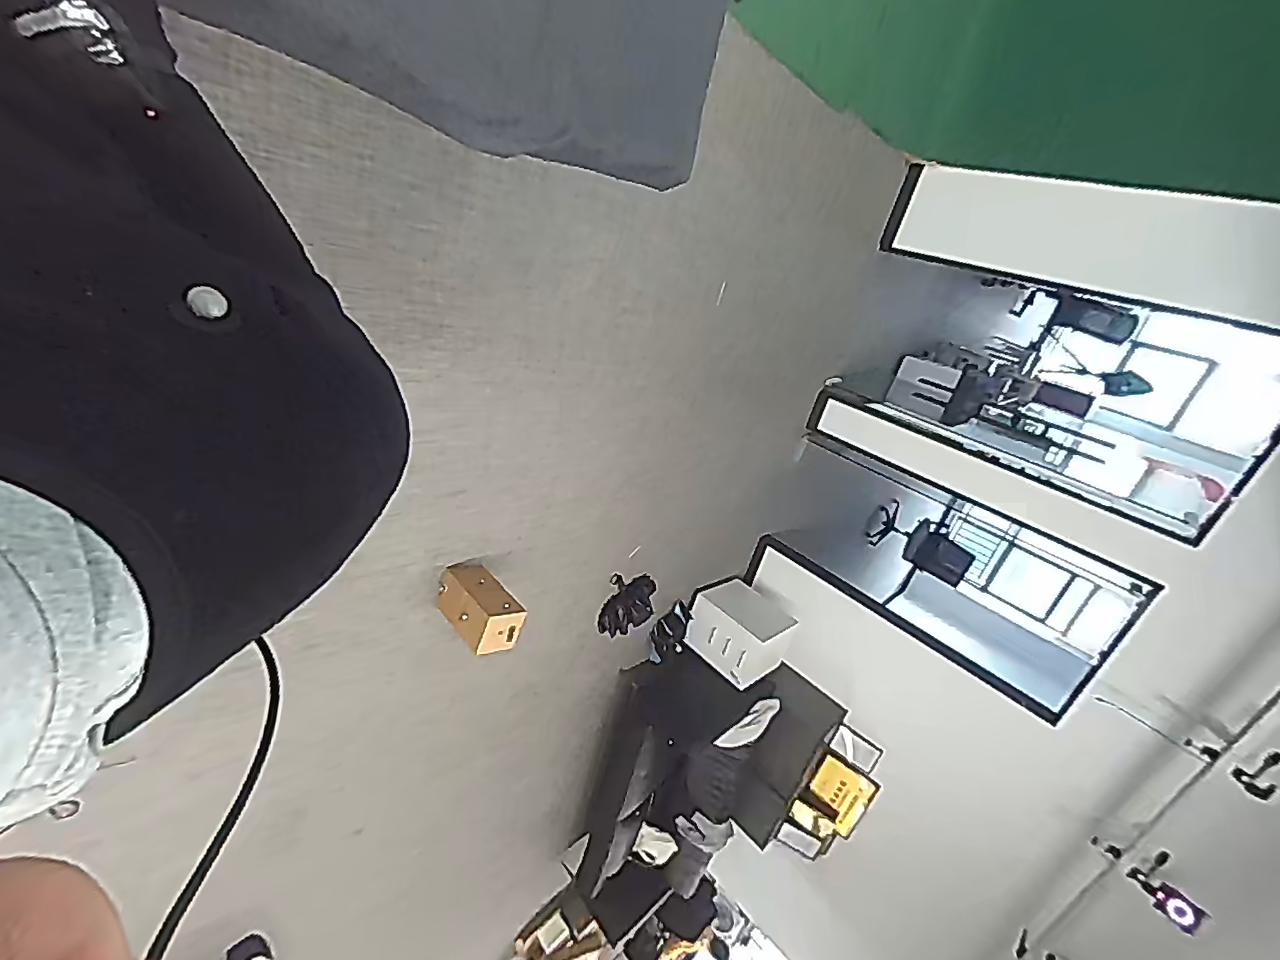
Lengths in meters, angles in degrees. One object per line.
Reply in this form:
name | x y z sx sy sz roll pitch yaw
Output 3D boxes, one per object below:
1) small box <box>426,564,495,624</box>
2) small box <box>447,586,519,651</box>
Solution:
small box | -0.714 0.445 2.143 0.179 0.176 0.168 4 112 -52
small box | -0.598 0.517 2.052 0.179 0.176 0.168 6 110 -53
